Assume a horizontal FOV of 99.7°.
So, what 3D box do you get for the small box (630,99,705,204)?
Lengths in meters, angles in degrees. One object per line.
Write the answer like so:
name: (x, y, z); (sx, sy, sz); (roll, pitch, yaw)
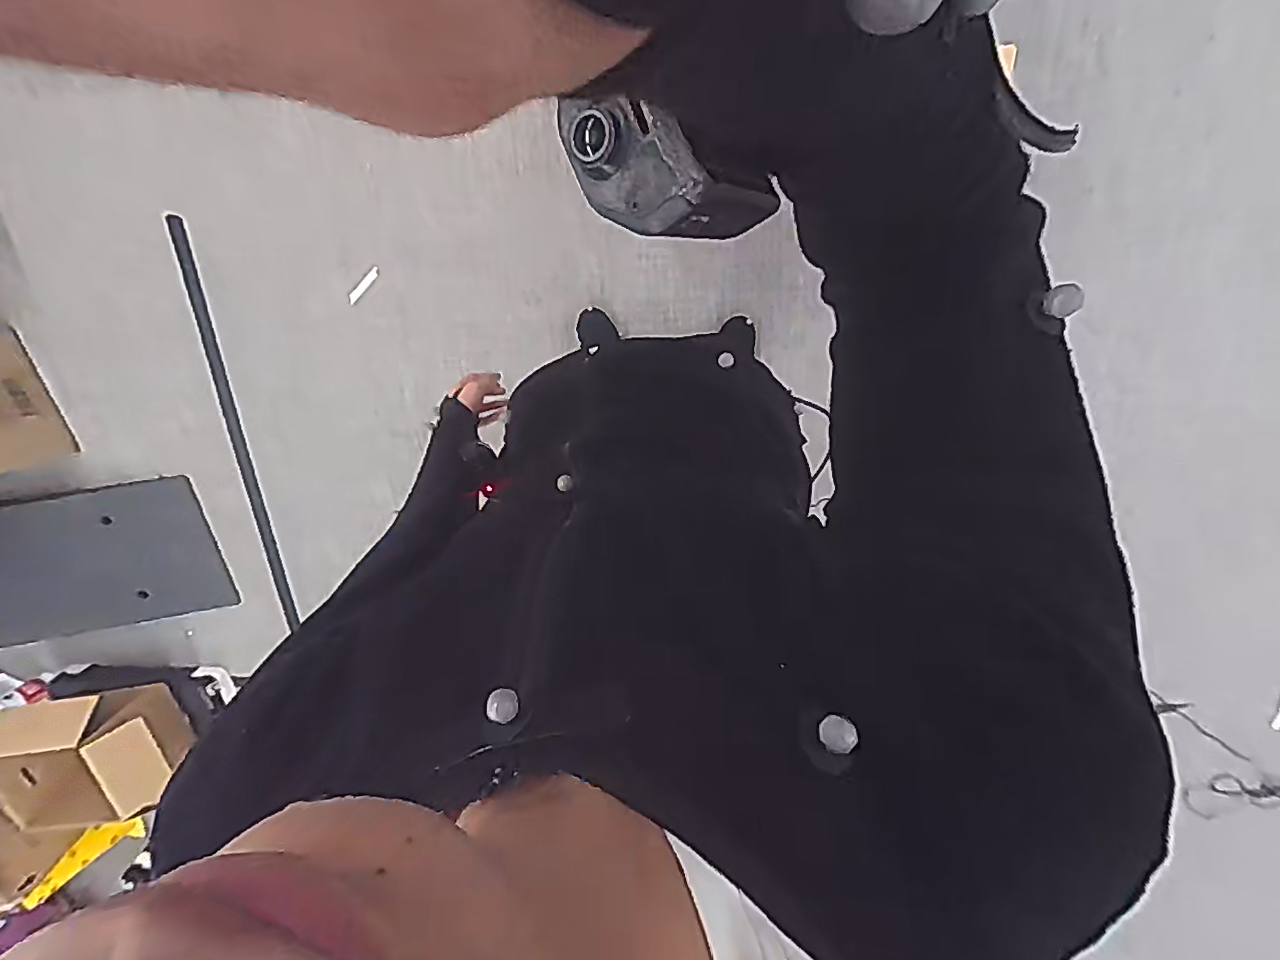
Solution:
small box: (0.069, -0.785, 1.307); (0.168, 0.176, 0.179); (-3, 108, 7)
